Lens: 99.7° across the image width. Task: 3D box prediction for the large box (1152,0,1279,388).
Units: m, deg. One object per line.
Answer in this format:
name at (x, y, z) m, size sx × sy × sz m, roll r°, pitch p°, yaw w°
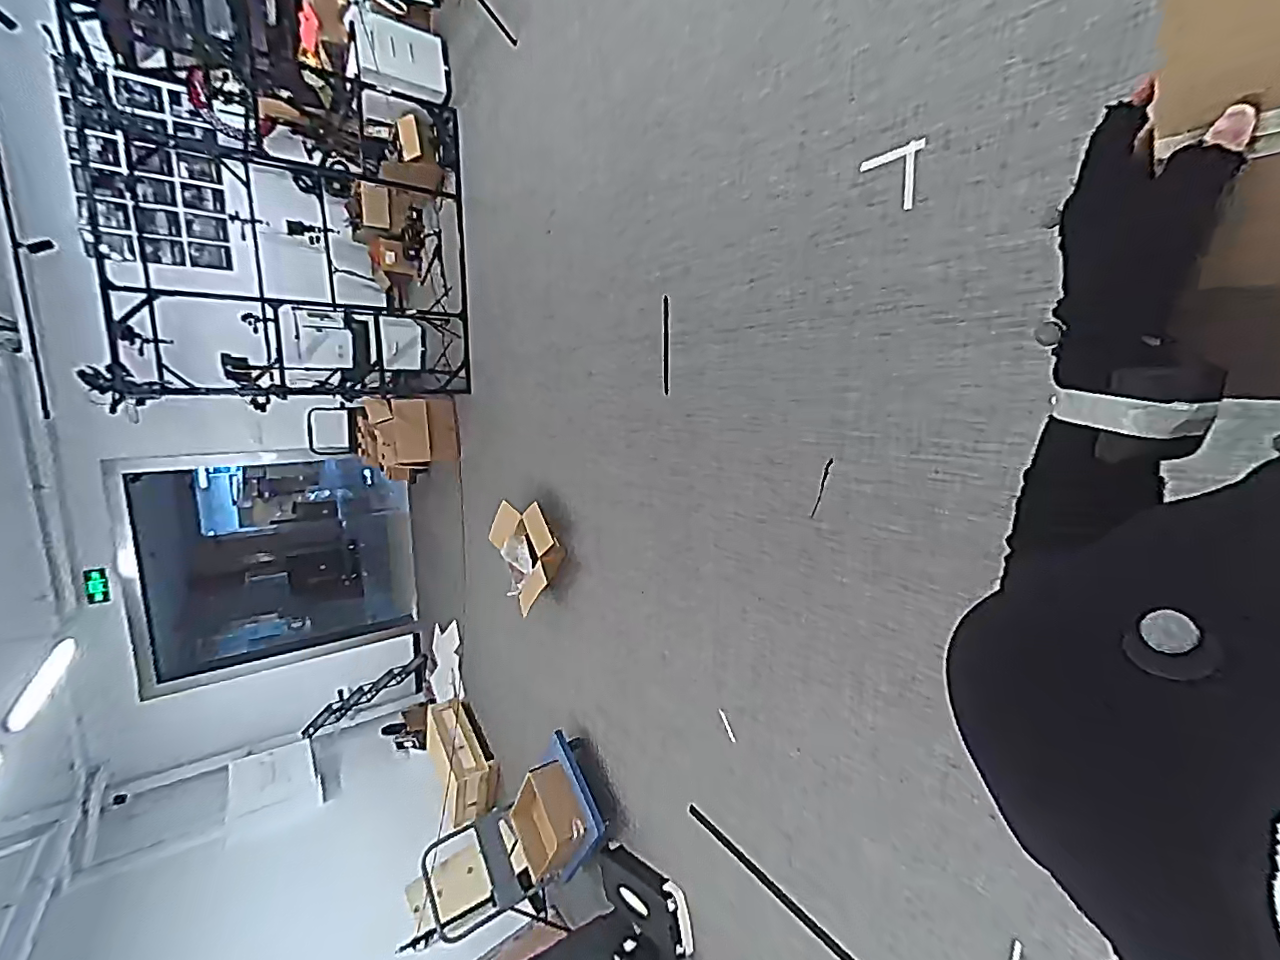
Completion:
large box at (0.524, -0.244, 0.218) m, size 0.408 × 0.320 × 0.320 m, roll 17°, pitch 139°, yaw 55°
